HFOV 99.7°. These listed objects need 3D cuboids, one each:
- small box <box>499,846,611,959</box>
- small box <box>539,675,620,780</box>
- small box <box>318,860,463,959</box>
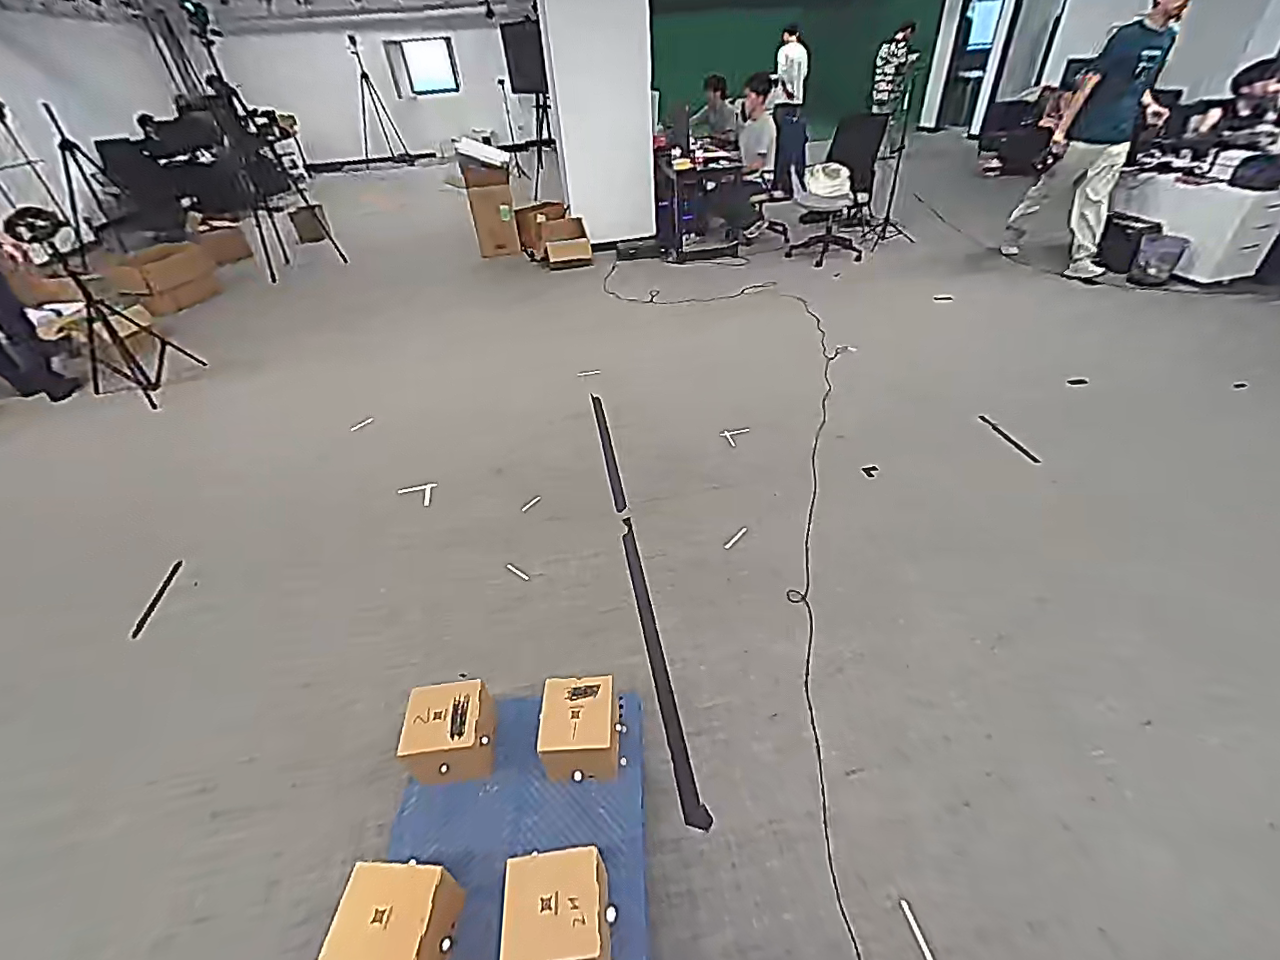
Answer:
[{"bbox_3d":[-0.152,0.824,1.021,0.179,0.176,0.168,-7,39,-2],"label":"small box"},{"bbox_3d":[-0.138,0.595,1.301,0.168,0.176,0.179,-4,40,2],"label":"small box"},{"bbox_3d":[-0.460,0.849,1.025,0.179,0.176,0.168,1,38,4],"label":"small box"}]
